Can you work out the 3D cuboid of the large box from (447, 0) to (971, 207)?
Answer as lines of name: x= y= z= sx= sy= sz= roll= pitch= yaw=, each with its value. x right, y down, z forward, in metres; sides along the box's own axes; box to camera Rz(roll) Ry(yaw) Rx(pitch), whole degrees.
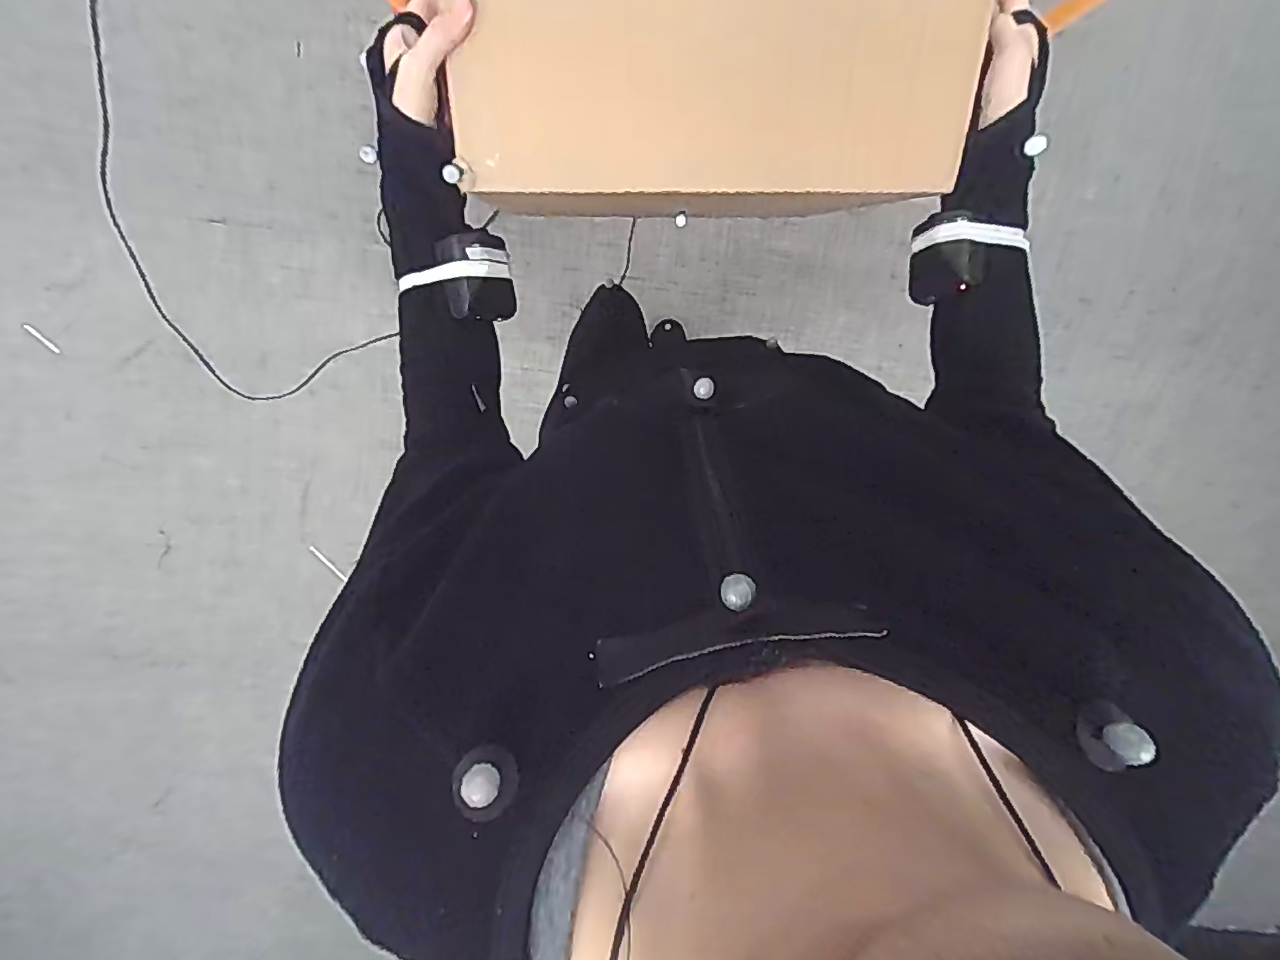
large box: x=0.045 y=-0.447 z=0.523 sx=0.408 sy=0.320 sz=0.320 roll=-3 pitch=112 yaw=-5
